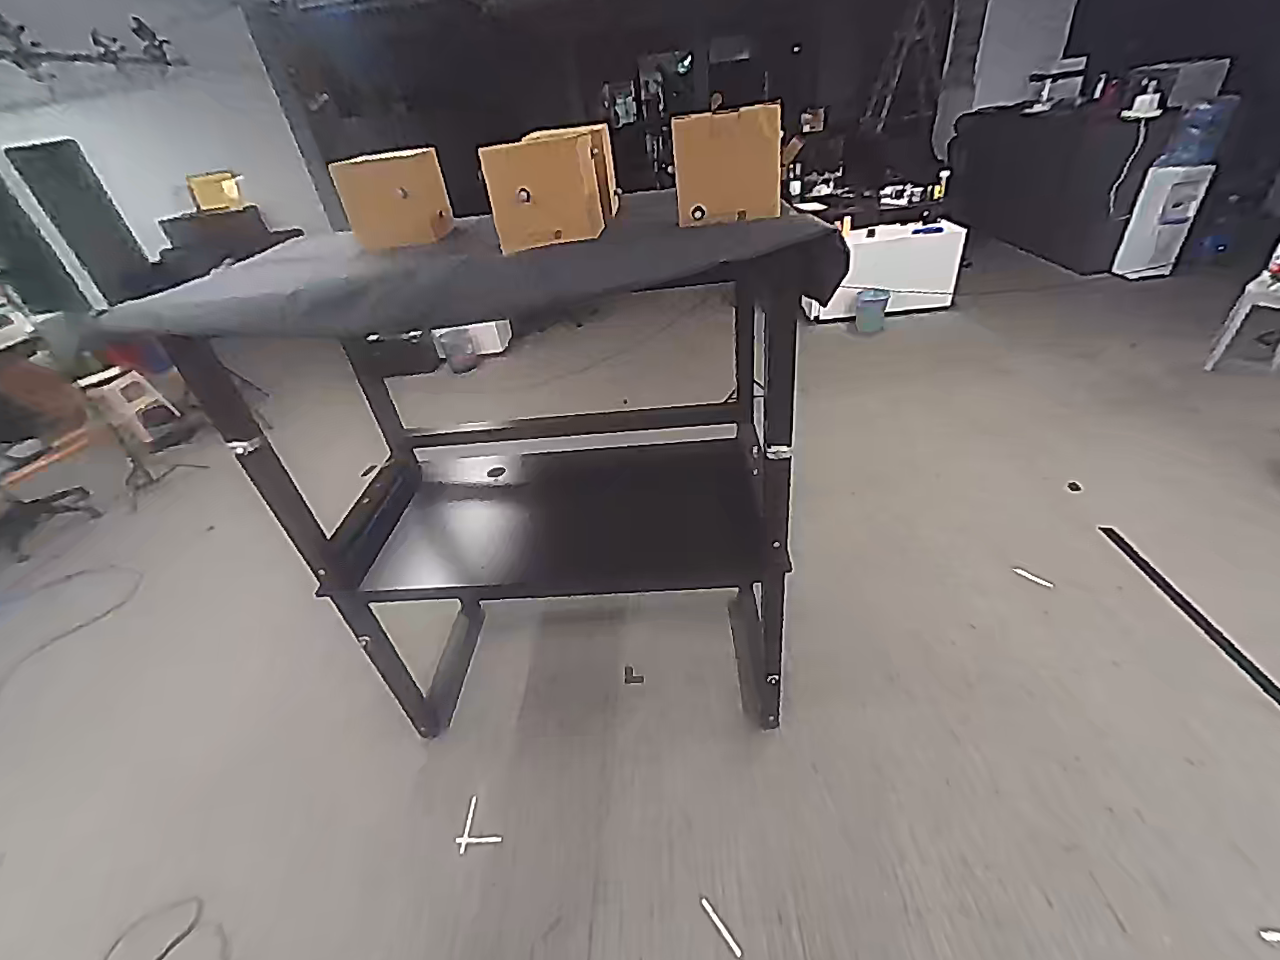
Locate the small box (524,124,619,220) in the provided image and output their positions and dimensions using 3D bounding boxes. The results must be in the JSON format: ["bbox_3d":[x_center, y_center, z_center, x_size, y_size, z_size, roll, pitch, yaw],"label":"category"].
[{"bbox_3d":[-0.141,-0.673,1.188,0.168,0.176,0.179,-5,34,5],"label":"small box"}]

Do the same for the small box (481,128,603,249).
[{"bbox_3d":[-0.165,-0.525,0.982,0.168,0.176,0.179,-4,33,6],"label":"small box"}]

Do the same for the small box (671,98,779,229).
[{"bbox_3d":[0.146,-0.536,0.927,0.168,0.176,0.179,-3,32,8],"label":"small box"}]
